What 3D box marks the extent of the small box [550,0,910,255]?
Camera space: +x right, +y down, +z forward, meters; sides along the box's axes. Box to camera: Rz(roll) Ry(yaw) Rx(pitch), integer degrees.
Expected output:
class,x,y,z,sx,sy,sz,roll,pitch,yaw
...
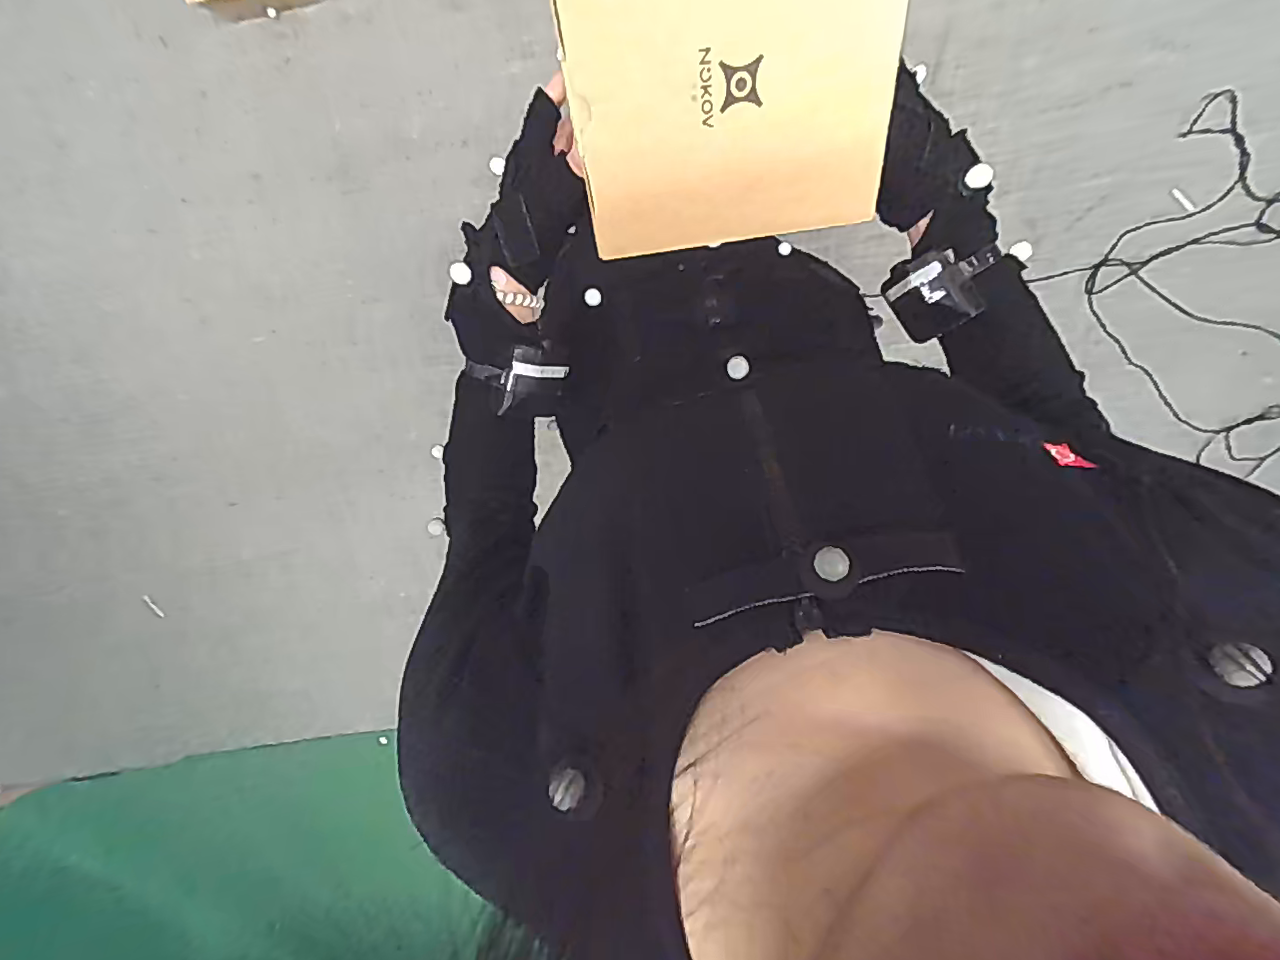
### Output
class,x,y,z,sx,sy,sz,roll,pitch,yaw
small box,0.045,-0.266,0.338,0.179,0.176,0.168,-6,134,4

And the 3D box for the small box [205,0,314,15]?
class,x,y,z,sx,sy,sz,roll,pitch,yaw
small box,-0.690,-0.922,0.909,0.168,0.176,0.179,-10,124,4

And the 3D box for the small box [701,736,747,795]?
class,x,y,z,sx,sy,sz,roll,pitch,yaw
small box,0.380,1.299,2.463,0.179,0.176,0.168,-11,124,3
